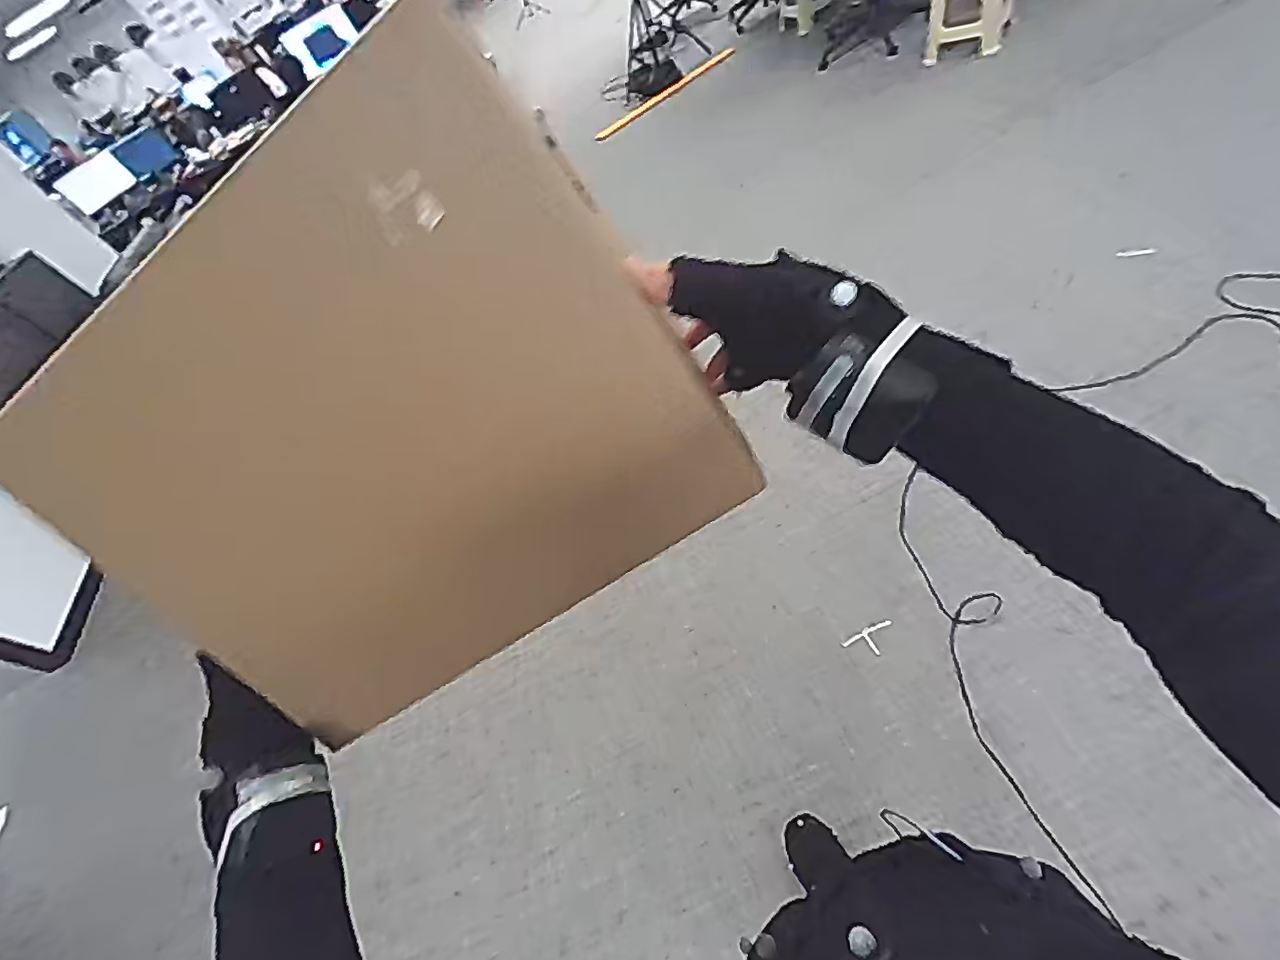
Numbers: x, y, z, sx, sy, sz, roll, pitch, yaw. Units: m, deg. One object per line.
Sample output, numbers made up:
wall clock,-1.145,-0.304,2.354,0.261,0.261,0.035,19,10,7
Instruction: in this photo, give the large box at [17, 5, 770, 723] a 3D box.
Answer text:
large box,-0.156,-0.069,0.490,0.408,0.320,0.320,-32,18,13
